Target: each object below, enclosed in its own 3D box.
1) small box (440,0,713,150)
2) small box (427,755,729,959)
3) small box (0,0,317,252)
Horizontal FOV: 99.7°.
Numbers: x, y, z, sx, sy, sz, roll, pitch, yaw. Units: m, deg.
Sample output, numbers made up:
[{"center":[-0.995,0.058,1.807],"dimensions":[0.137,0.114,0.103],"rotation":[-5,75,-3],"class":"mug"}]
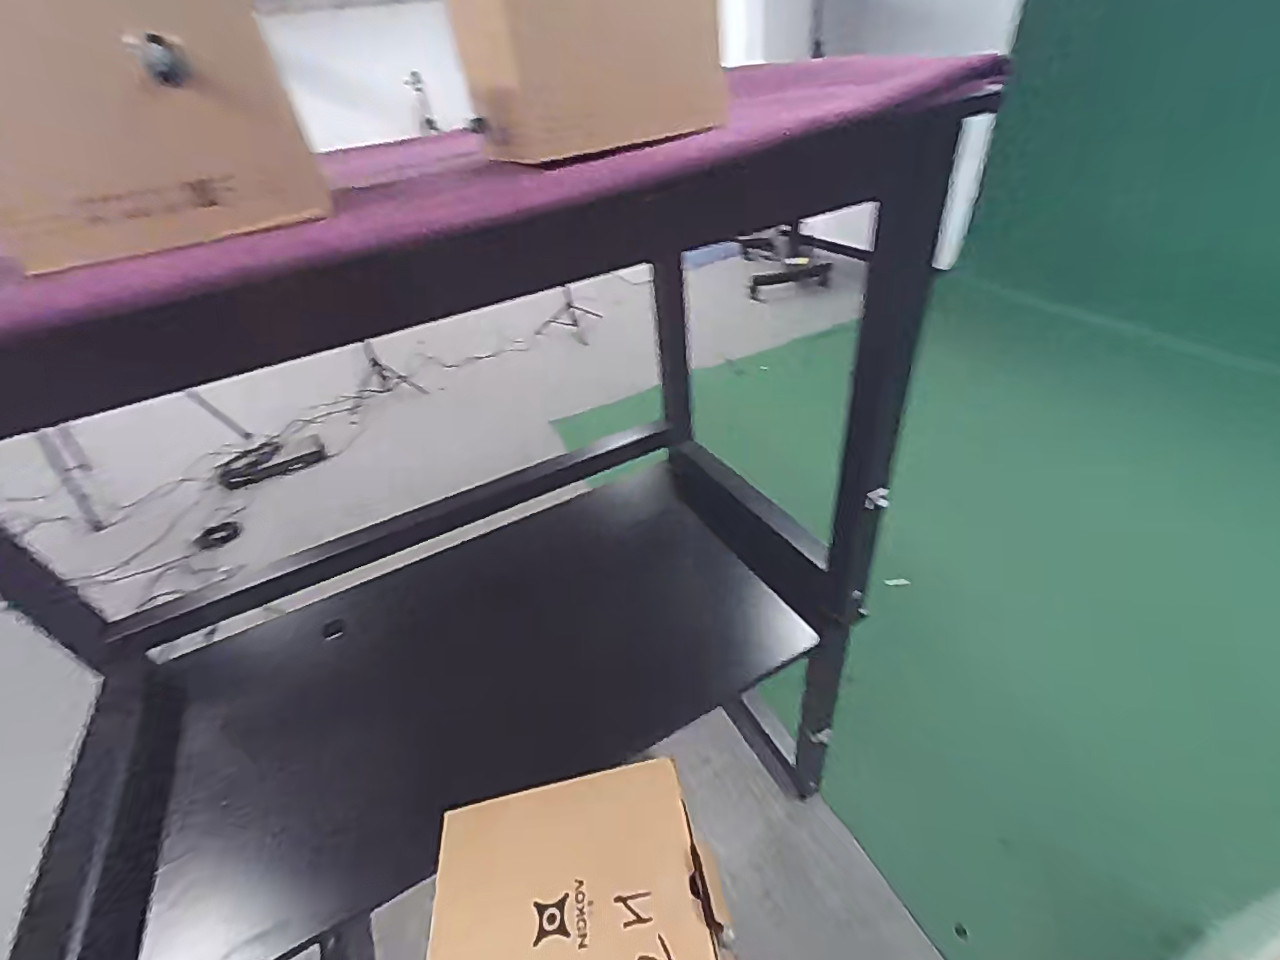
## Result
[{"center":[-0.056,-0.377,0.439],"dimensions":[0.179,0.176,0.168],"rotation":[-23,38,-18],"class":"small box"},{"center":[-0.030,0.327,0.372],"dimensions":[0.179,0.176,0.168],"rotation":[-12,36,-2],"class":"small box"},{"center":[-0.325,-0.254,0.337],"dimensions":[0.168,0.176,0.179],"rotation":[-21,39,-17],"class":"small box"}]
